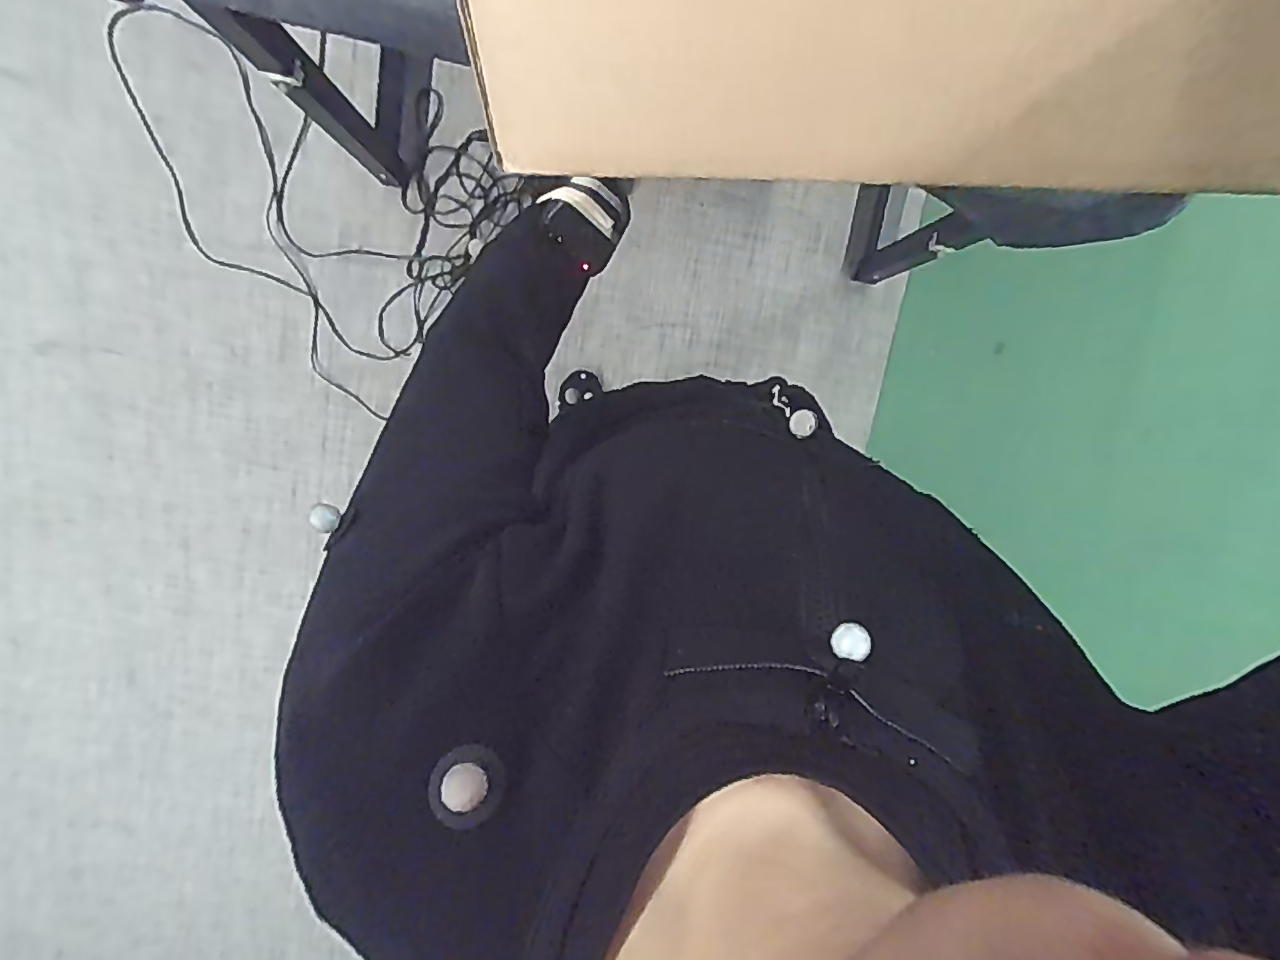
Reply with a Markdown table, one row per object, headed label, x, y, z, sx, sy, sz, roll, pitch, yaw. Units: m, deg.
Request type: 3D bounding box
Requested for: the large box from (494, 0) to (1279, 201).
| label | x | y | z | sx | sy | sz | roll | pitch | yaw |
| --- | --- | --- | --- | --- | --- | --- | --- | --- | --- |
| large box | 0.153 | -0.345 | 0.248 | 0.408 | 0.320 | 0.320 | 6 | 135 | 11 |
